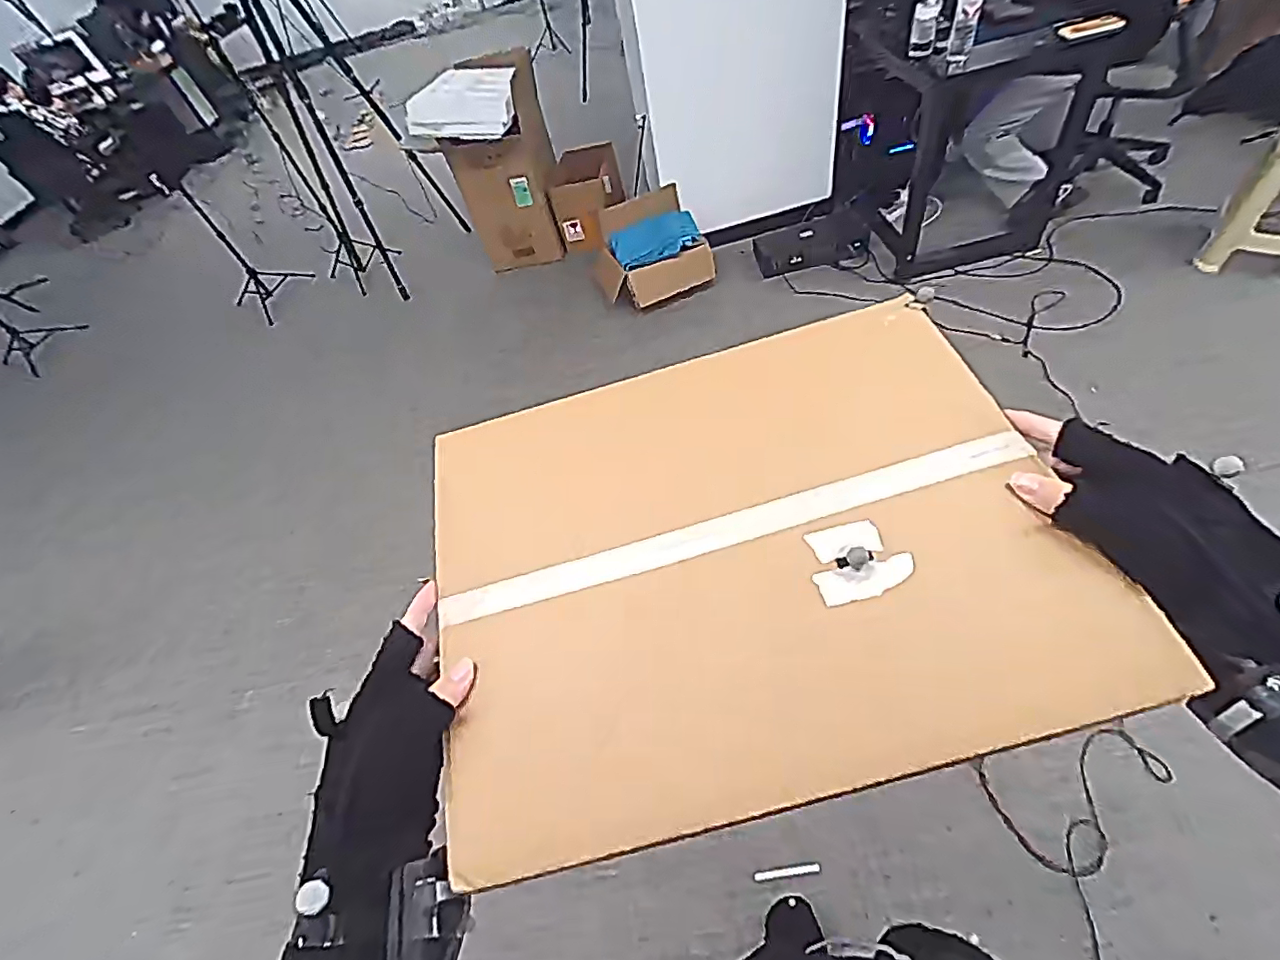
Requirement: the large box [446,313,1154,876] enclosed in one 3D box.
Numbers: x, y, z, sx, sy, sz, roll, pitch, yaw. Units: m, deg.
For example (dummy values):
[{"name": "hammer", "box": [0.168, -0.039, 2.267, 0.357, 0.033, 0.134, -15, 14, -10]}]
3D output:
[{"name": "large box", "box": [0.083, 0.115, 0.502, 0.408, 0.320, 0.320, -17, 58, 1]}]
